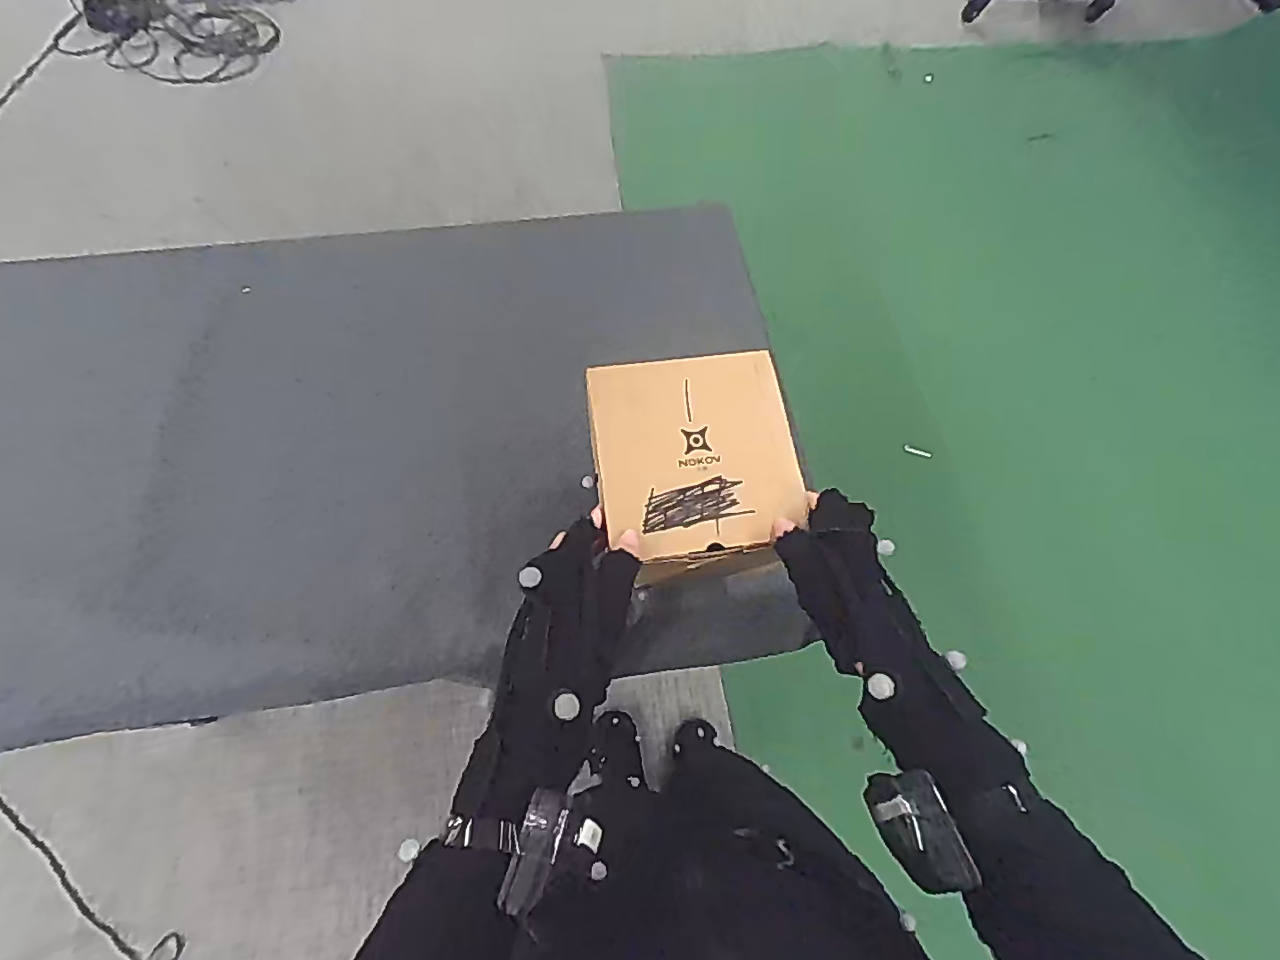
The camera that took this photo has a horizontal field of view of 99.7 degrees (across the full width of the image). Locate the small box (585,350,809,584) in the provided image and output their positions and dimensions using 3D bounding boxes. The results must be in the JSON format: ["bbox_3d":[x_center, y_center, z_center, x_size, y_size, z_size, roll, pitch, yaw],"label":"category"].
[{"bbox_3d":[0.040,0.000,0.524,0.168,0.176,0.179,-7,71,-6],"label":"small box"}]
